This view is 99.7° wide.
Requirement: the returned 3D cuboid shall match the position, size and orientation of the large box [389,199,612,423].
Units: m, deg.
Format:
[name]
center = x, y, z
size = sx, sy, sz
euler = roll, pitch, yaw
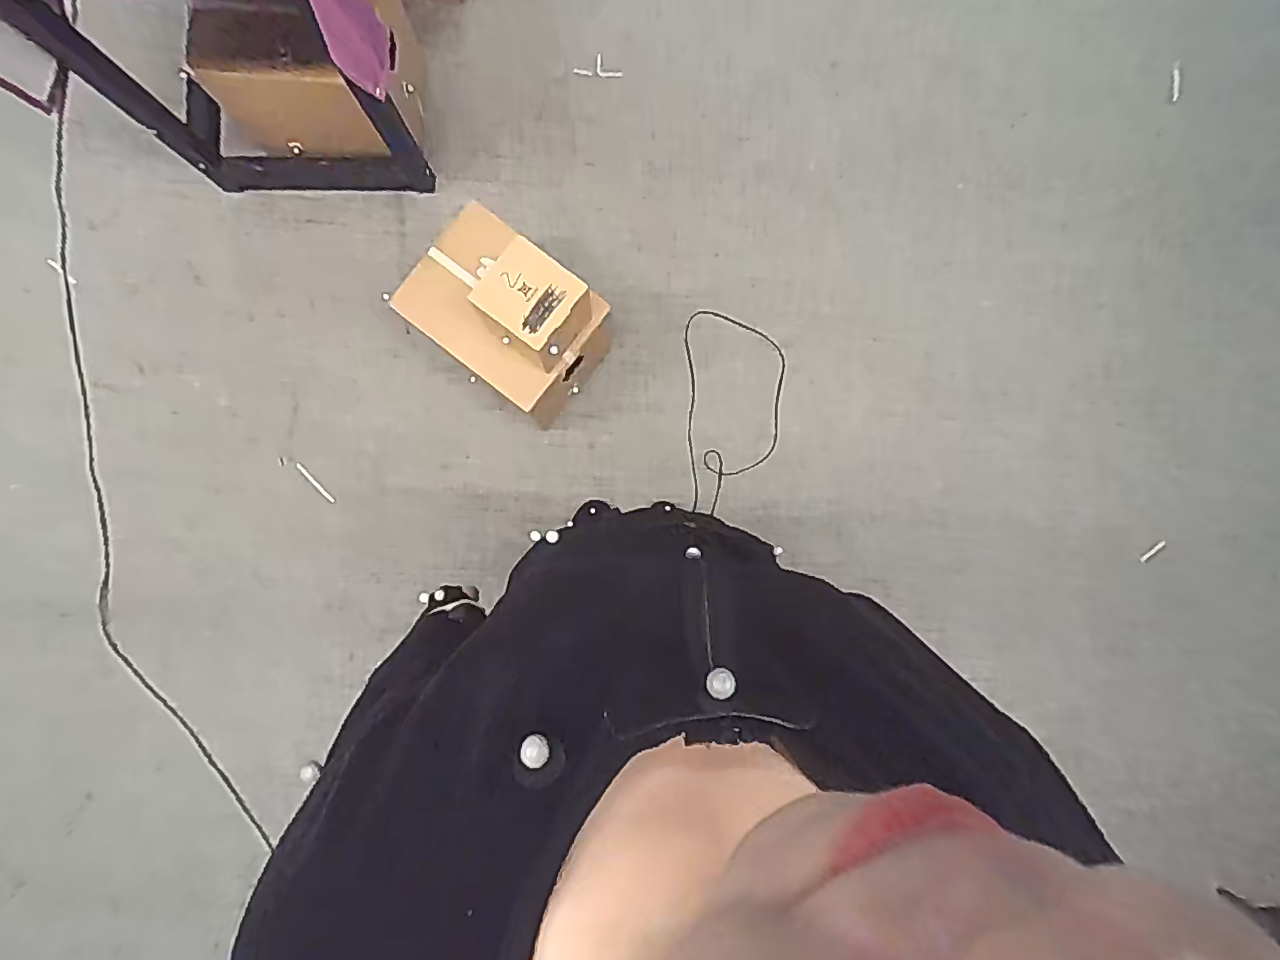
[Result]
[large box]
center = -0.318, -0.394, 1.362
size = 0.408, 0.320, 0.320
euler = 38, 86, 0
